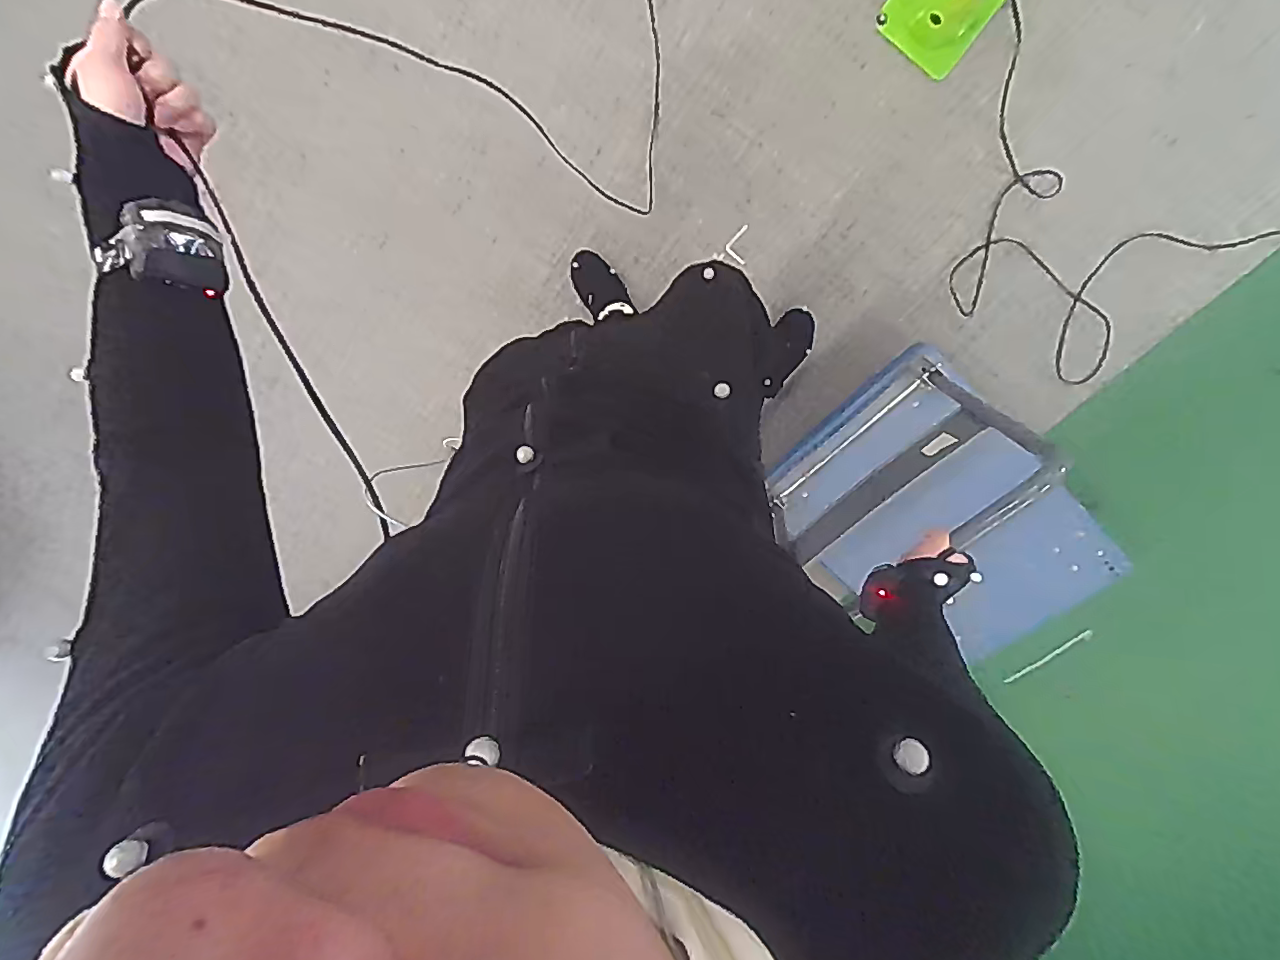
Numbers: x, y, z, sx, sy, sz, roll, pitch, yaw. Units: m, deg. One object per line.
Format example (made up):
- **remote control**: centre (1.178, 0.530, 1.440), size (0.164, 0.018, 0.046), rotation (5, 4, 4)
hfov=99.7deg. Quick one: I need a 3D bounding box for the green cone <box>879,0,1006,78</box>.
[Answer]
- **green cone**: centre (0.615, -0.921, 0.970), size (0.200, 0.368, 0.202), rotation (33, 113, -8)
